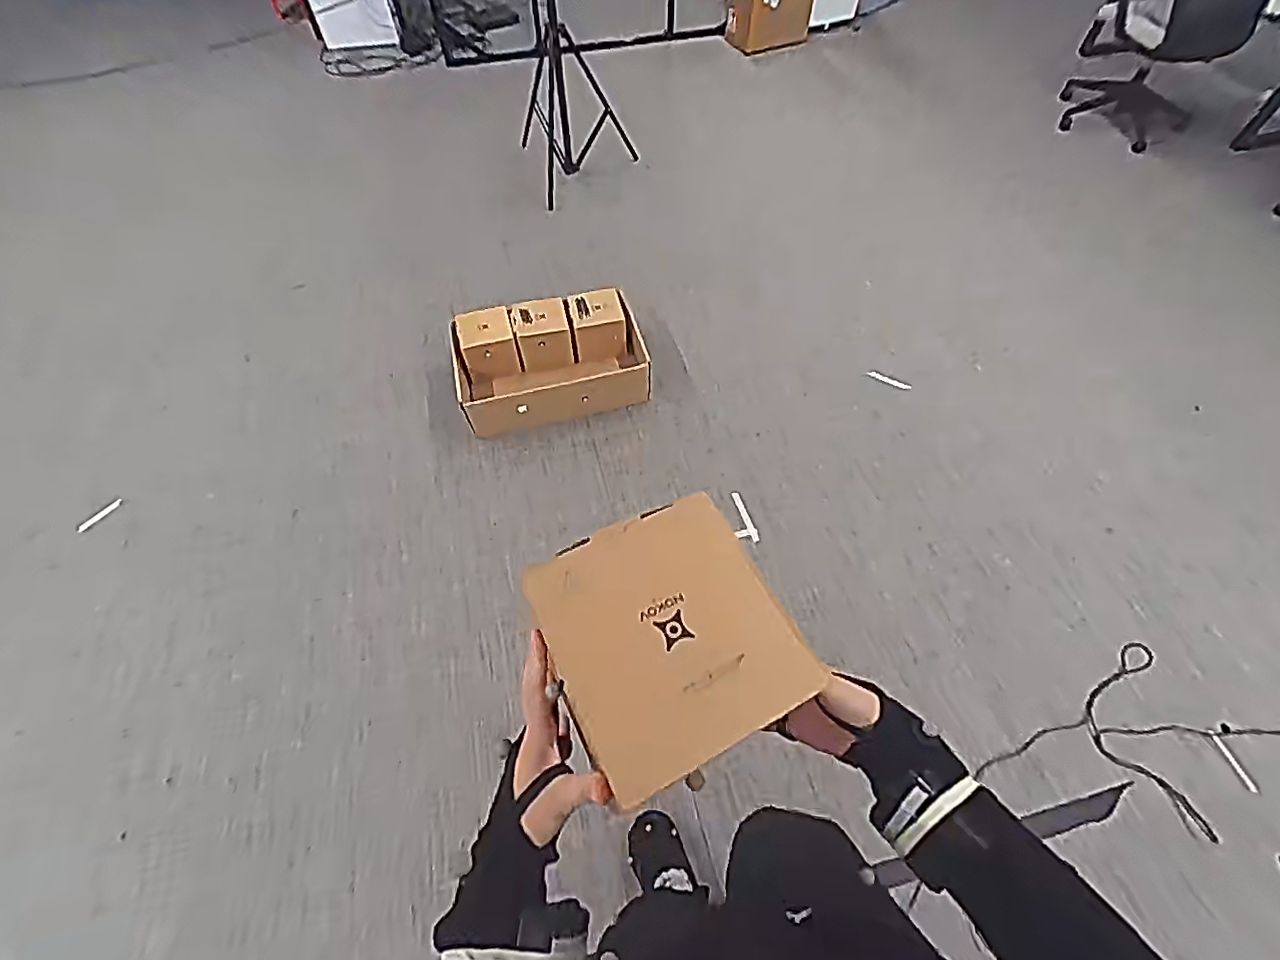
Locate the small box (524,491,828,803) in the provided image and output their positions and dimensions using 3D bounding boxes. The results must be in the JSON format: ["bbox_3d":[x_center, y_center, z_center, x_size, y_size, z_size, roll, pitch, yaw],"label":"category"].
[{"bbox_3d":[0.014,0.143,0.452,0.168,0.176,0.179,-21,63,-18],"label":"small box"}]
